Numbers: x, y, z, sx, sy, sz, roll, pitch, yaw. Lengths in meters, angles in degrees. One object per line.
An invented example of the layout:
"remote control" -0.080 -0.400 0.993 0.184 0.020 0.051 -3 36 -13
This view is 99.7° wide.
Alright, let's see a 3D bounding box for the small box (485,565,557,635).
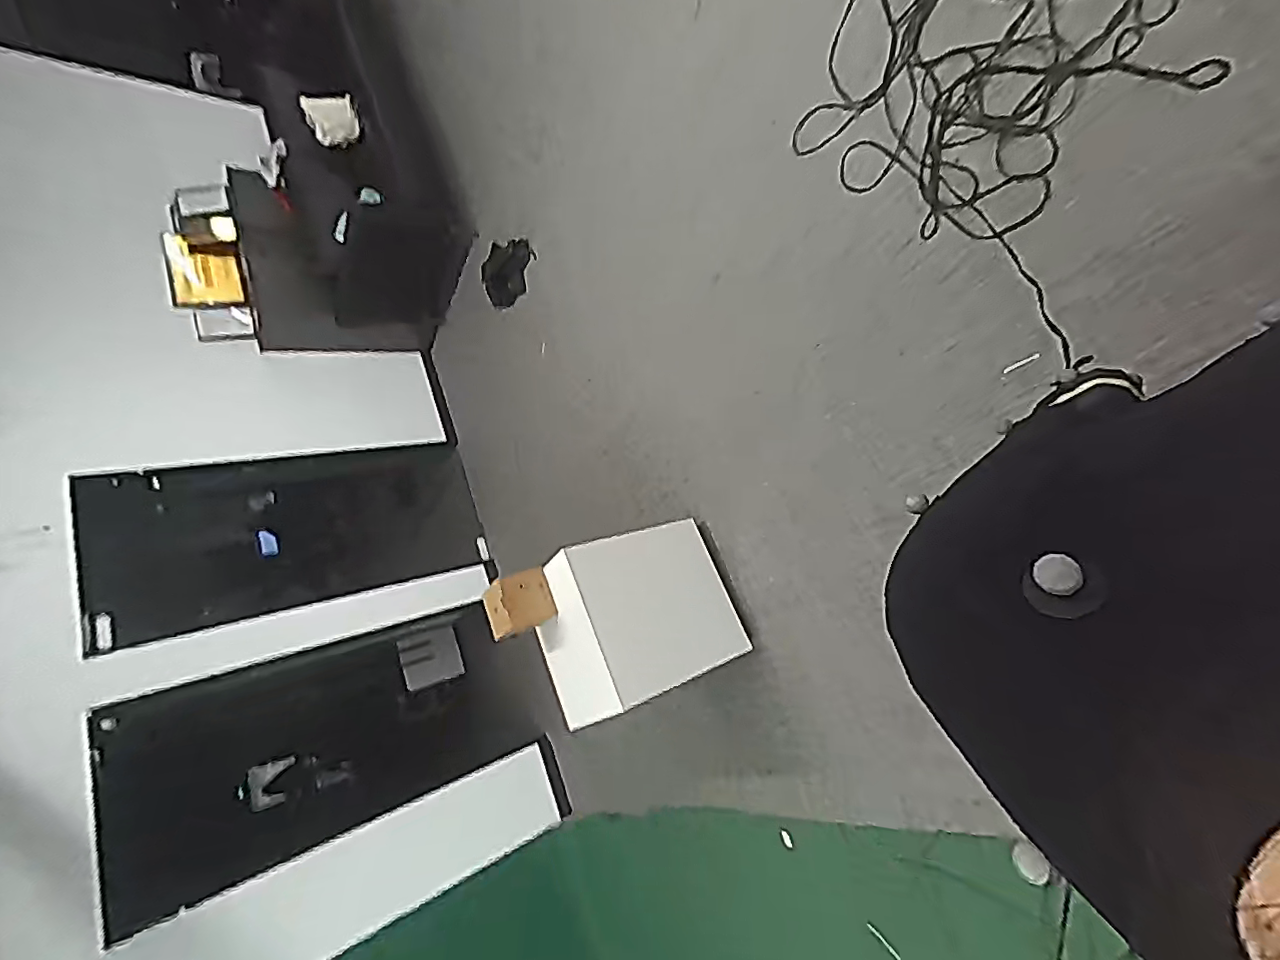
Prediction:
"small box" -0.393 0.399 1.804 0.179 0.176 0.168 -42 64 49
